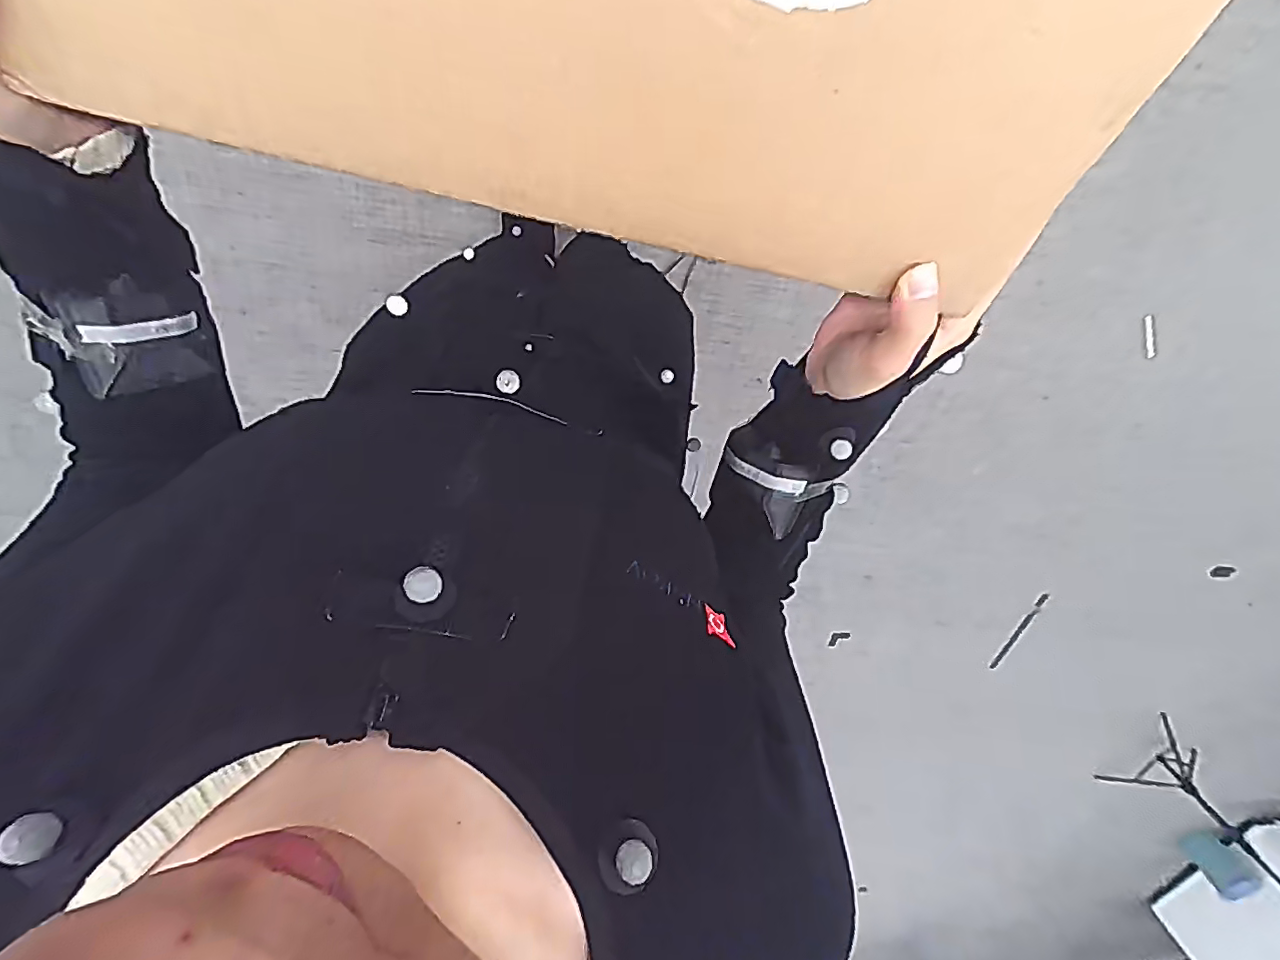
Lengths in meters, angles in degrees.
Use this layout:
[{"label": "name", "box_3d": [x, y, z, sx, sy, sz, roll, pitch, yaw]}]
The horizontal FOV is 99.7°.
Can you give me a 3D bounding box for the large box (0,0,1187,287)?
[{"label": "large box", "box_3d": [-0.002, -0.329, 0.218, 0.408, 0.320, 0.320, 9, 141, -9]}]
